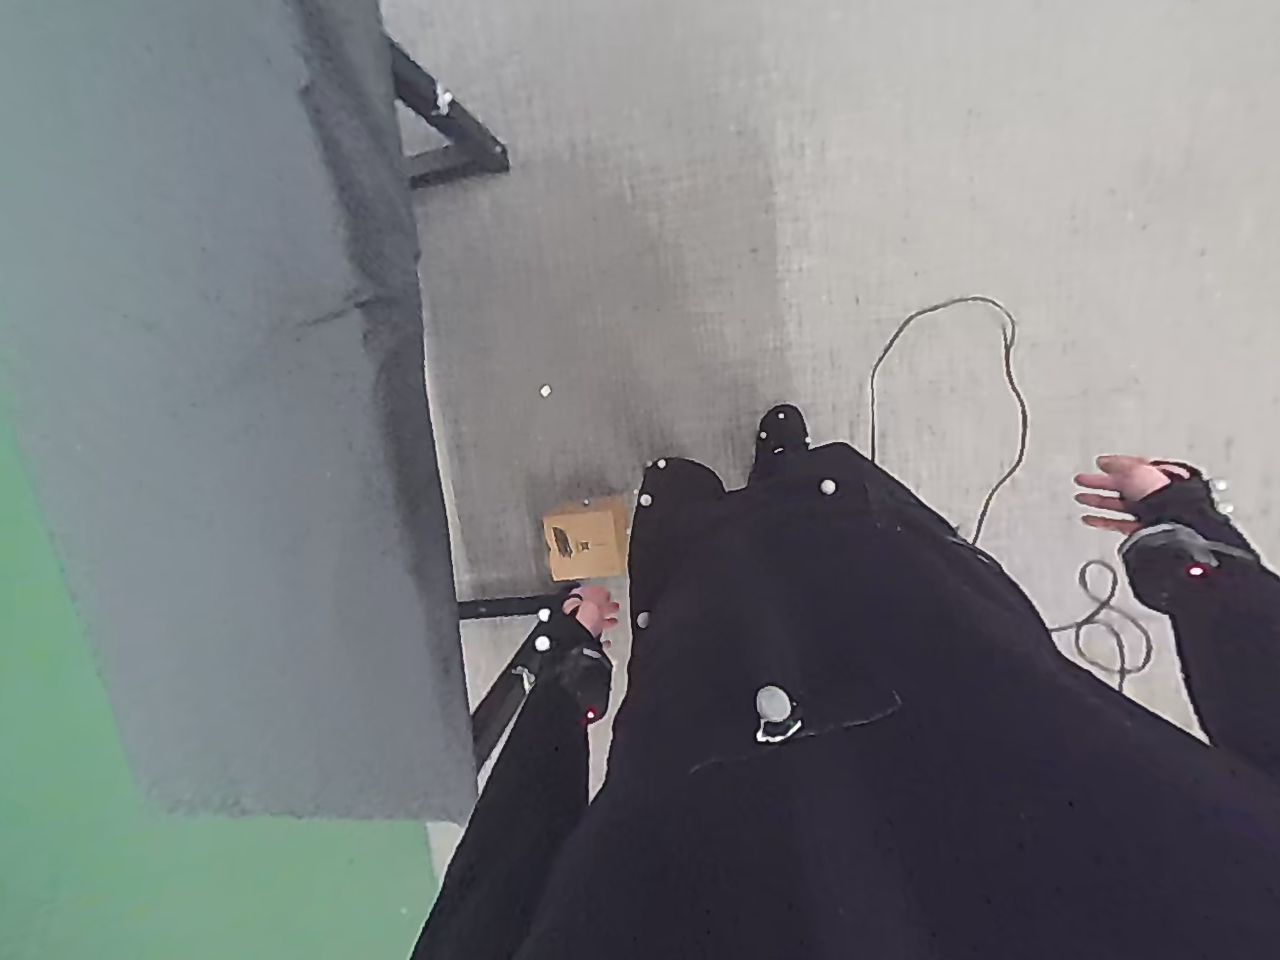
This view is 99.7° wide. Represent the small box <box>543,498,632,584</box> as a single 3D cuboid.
[{"bbox_3d":[-0.127,0.151,1.373,0.179,0.176,0.168,-7,101,9],"label":"small box"}]
